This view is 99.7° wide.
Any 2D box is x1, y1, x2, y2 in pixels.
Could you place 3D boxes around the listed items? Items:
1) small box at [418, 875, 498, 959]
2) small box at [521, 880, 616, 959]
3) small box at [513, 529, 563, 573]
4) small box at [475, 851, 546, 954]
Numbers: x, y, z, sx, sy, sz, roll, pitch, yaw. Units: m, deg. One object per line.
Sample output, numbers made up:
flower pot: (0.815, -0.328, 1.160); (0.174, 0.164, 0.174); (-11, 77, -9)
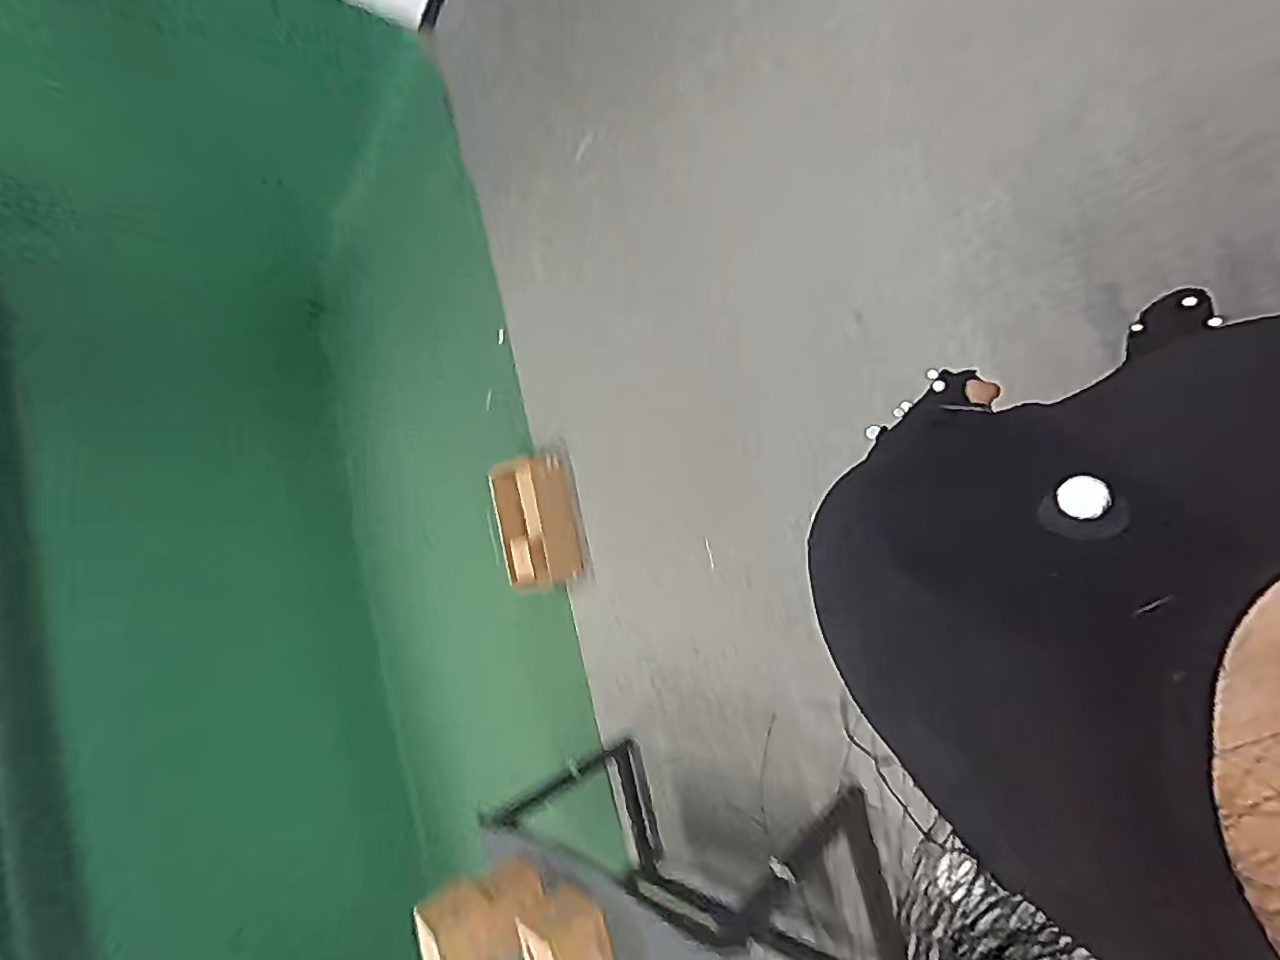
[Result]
small box: (-0.538, 1.339, 1.621); (0.179, 0.176, 0.168); (-8, 91, 47)
small box: (-0.194, 1.243, 1.474); (0.179, 0.176, 0.168); (-17, 86, 46)
small box: (-0.493, 0.347, 2.634); (0.168, 0.176, 0.179); (-16, 84, 46)
small box: (-0.408, 1.332, 1.722); (0.179, 0.176, 0.168); (-13, 88, 48)
